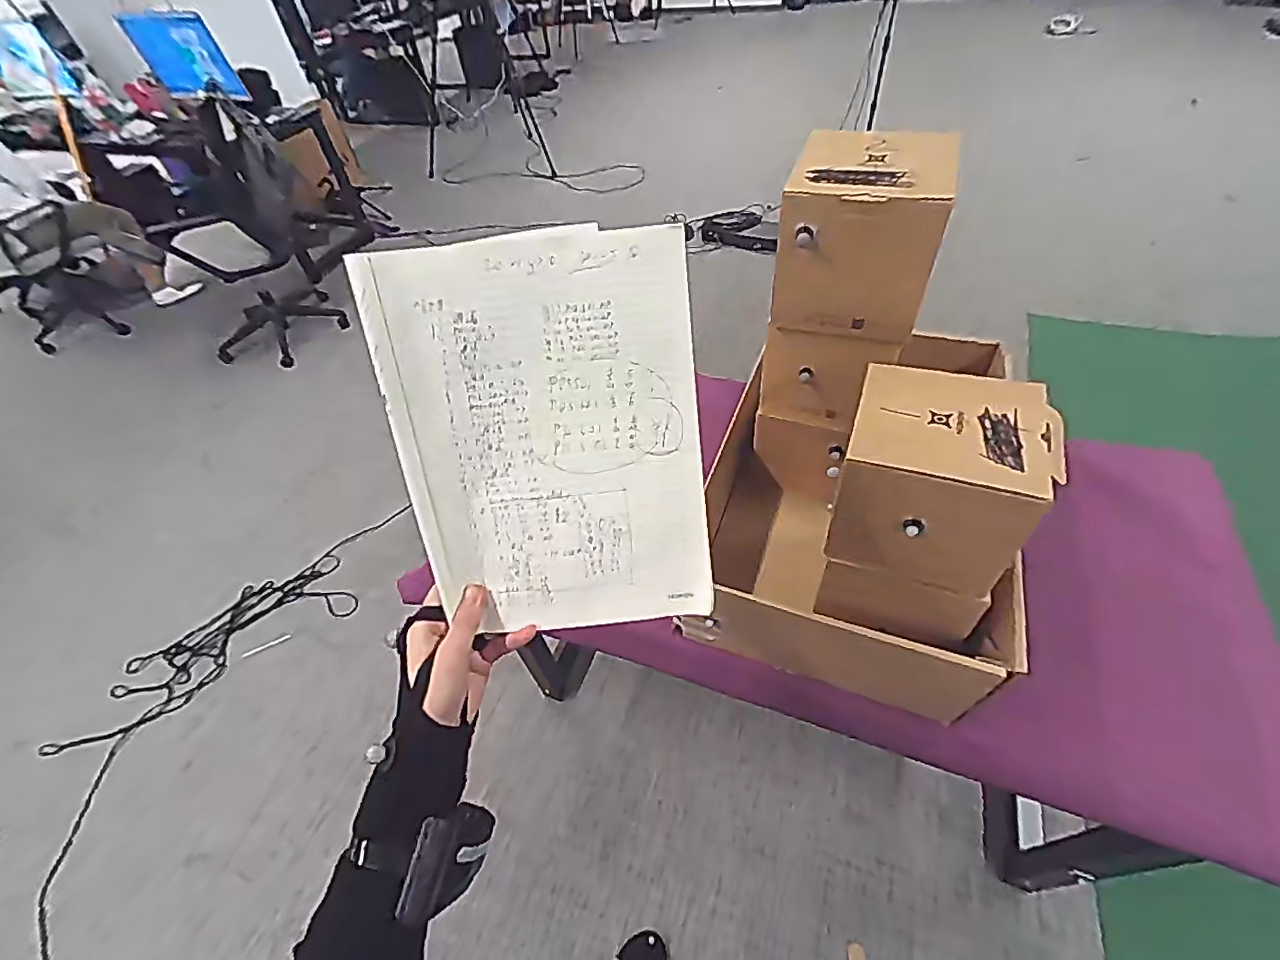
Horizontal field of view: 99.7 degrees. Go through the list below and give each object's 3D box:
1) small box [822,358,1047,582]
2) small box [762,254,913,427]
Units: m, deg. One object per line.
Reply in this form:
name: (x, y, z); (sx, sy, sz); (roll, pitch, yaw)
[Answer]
small box: (0.316, -0.009, 0.602); (0.179, 0.176, 0.168); (13, 51, 21)
small box: (0.278, -0.199, 0.782); (0.168, 0.176, 0.179); (15, 54, 19)
